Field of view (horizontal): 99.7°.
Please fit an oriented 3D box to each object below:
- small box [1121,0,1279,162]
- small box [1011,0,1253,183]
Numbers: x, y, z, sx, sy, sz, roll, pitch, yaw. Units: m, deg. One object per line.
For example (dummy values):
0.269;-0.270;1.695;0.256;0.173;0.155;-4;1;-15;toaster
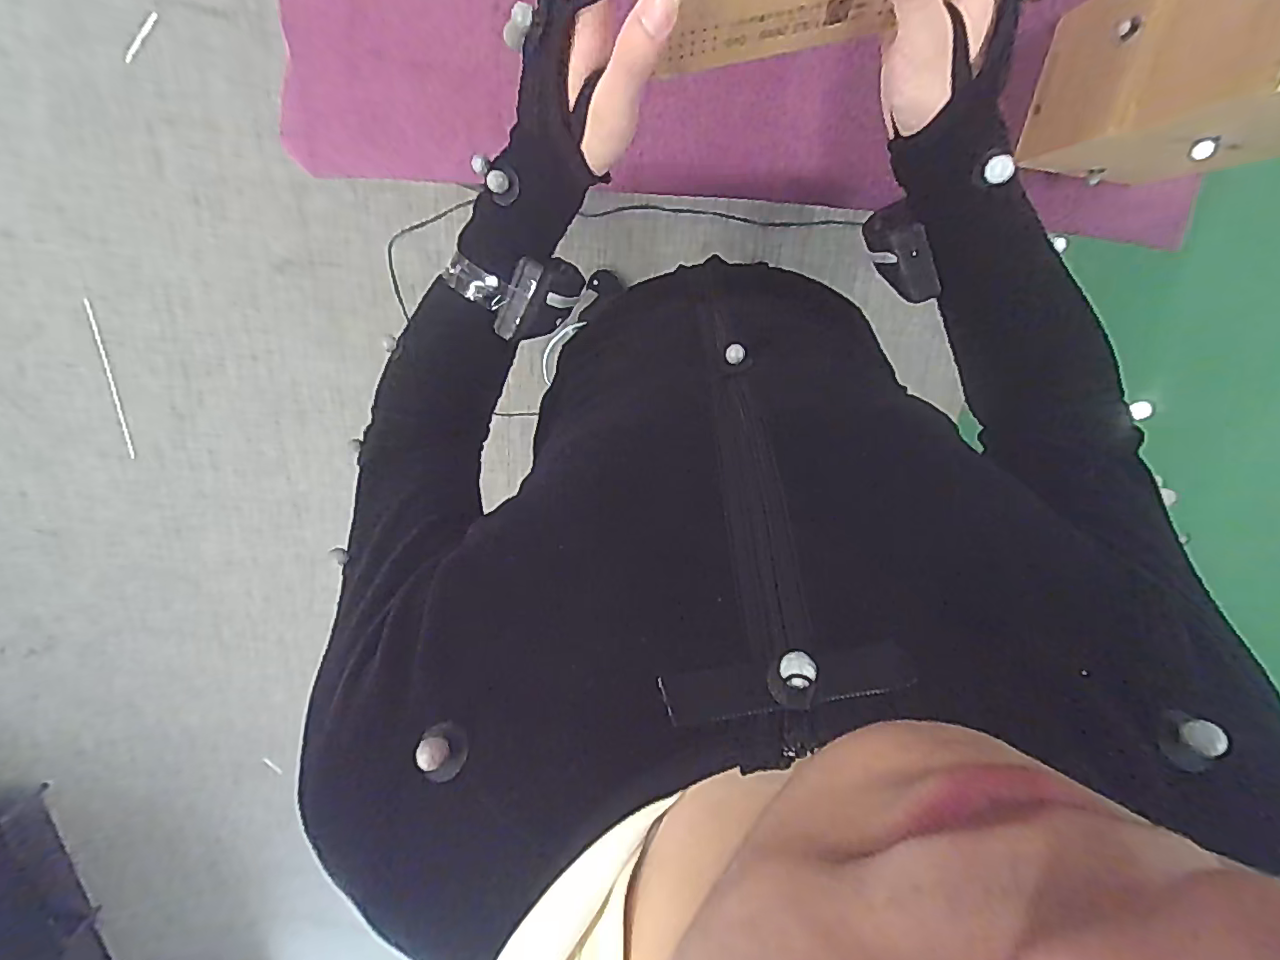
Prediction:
0.585;-0.401;0.469;0.168;0.176;0.179;8;111;0;small box
0.587;-0.455;0.623;0.179;0.176;0.168;8;110;-2;small box
